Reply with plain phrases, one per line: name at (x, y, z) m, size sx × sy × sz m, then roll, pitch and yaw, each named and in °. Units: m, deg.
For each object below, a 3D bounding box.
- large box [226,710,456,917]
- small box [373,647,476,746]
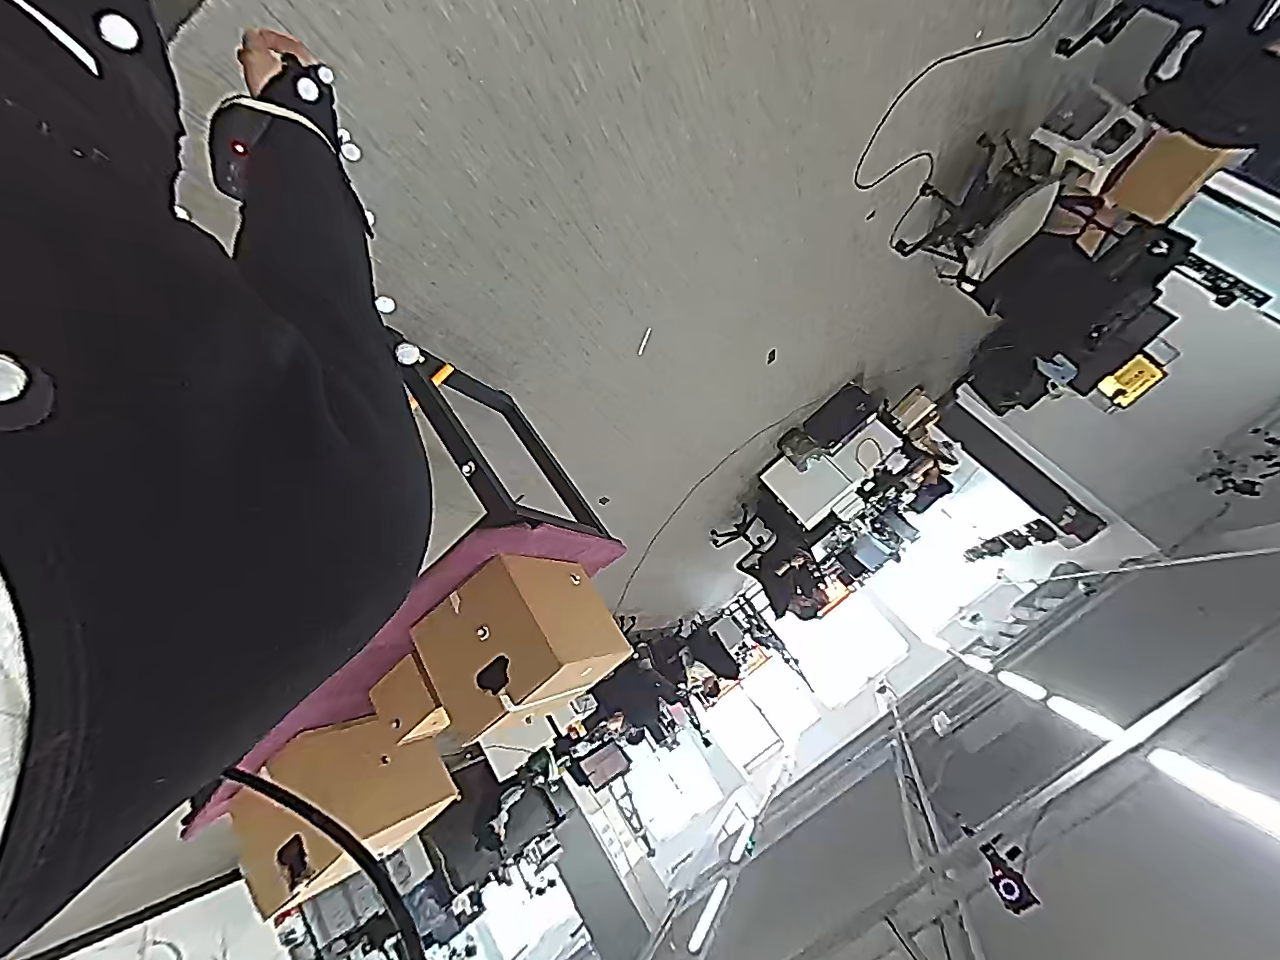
large box at (-0.813, 0.870, 1.500) m, size 0.320 × 0.320 × 0.408 m, roll -42°, pitch 158°, yaw 8°
small box at (-0.588, 0.578, 1.462) m, size 0.179 × 0.176 × 0.168 m, roll -42°, pitch 157°, yaw 9°
